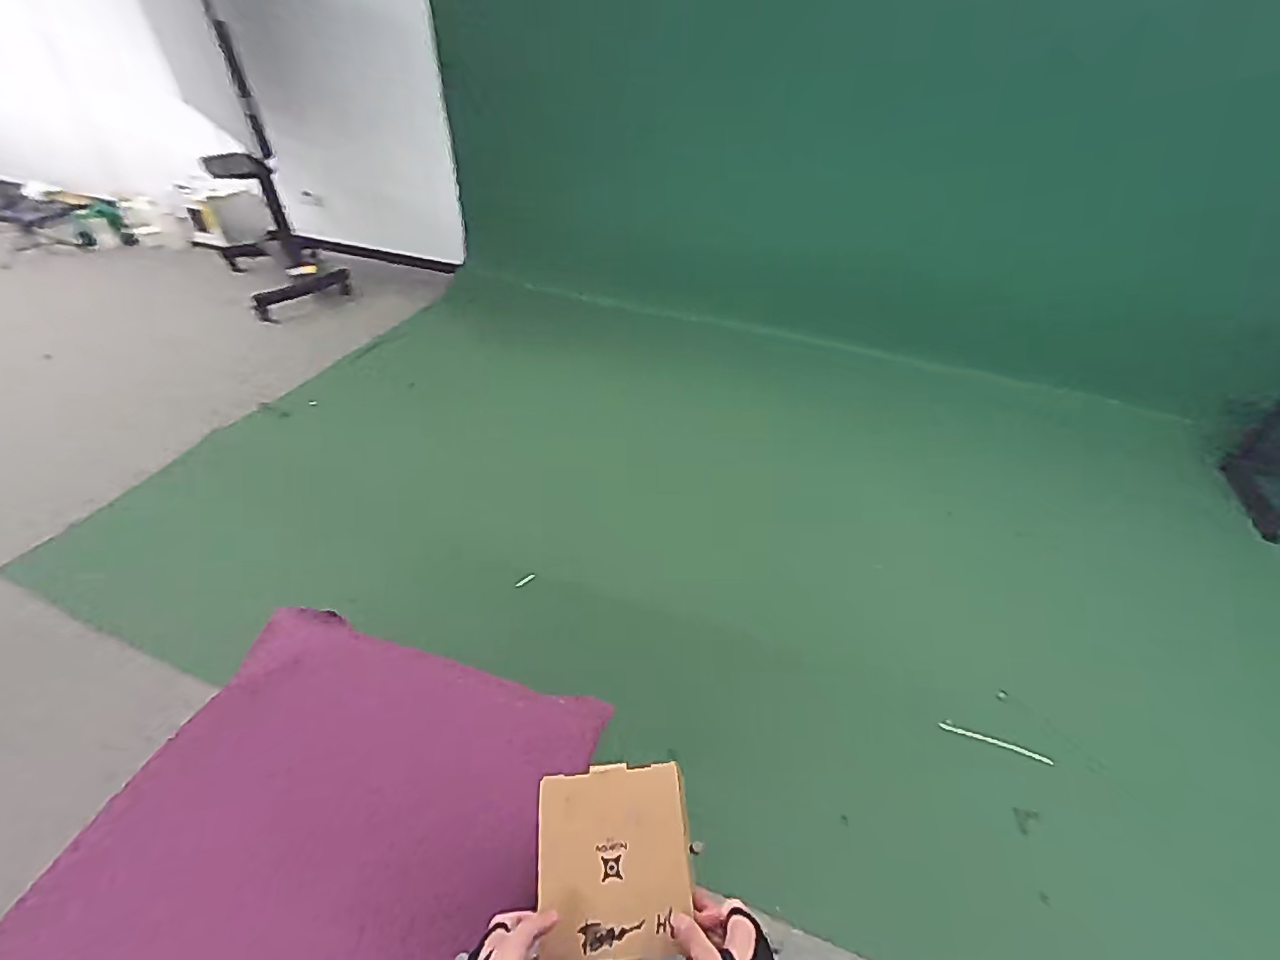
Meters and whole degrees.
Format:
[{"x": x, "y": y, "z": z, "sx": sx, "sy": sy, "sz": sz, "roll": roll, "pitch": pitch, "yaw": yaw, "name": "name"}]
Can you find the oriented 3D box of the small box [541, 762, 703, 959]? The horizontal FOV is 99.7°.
[{"x": -0.016, "y": 0.456, "z": 0.653, "sx": 0.168, "sy": 0.176, "sz": 0.179, "roll": -7, "pitch": 55, "yaw": 3, "name": "small box"}]
